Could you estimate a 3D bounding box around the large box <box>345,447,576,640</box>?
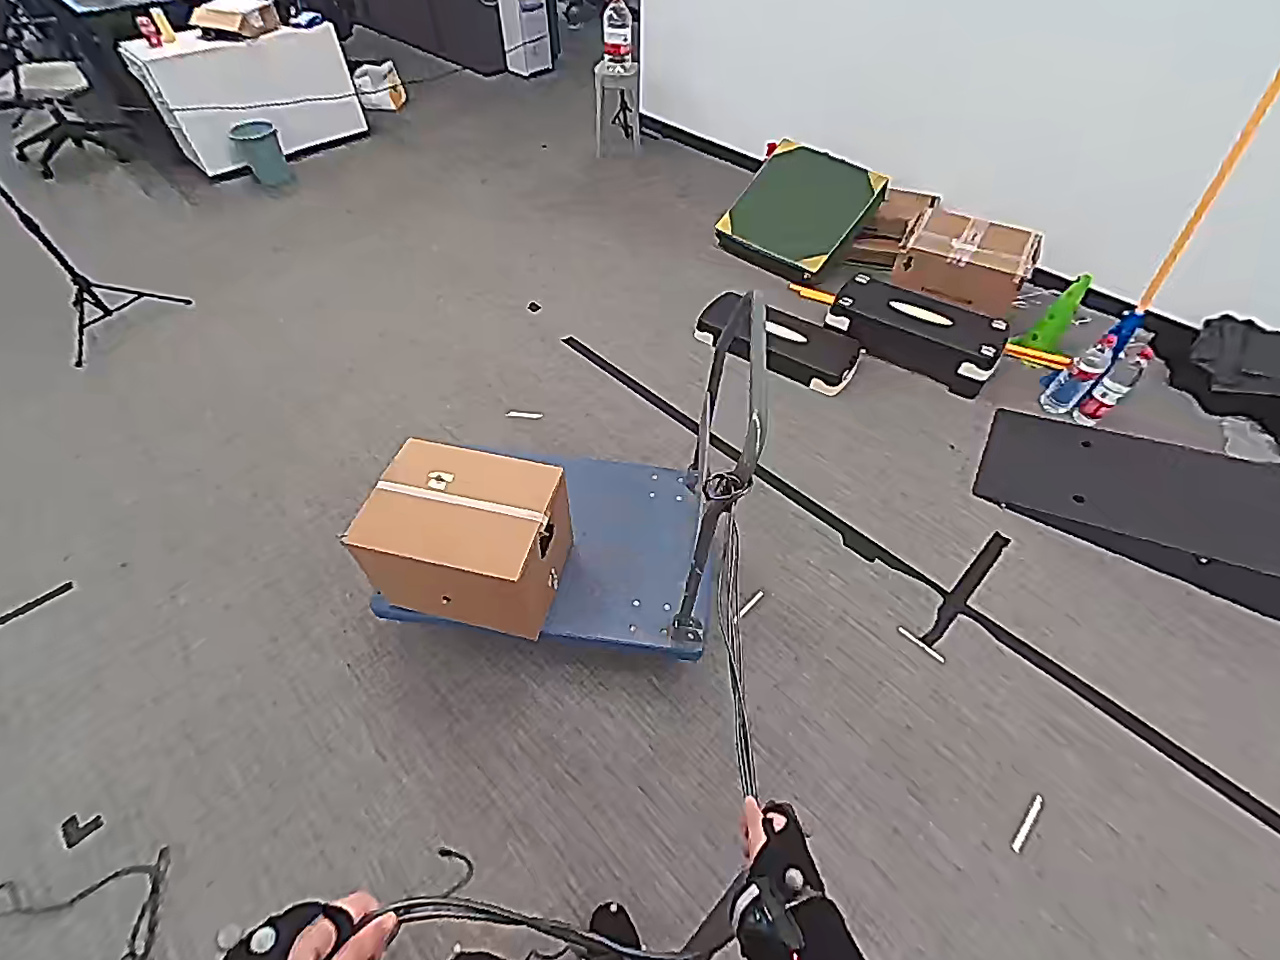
[{"bbox_3d":[-0.400,0.158,1.325,0.408,0.320,0.320,11,51,8],"label":"large box"}]
